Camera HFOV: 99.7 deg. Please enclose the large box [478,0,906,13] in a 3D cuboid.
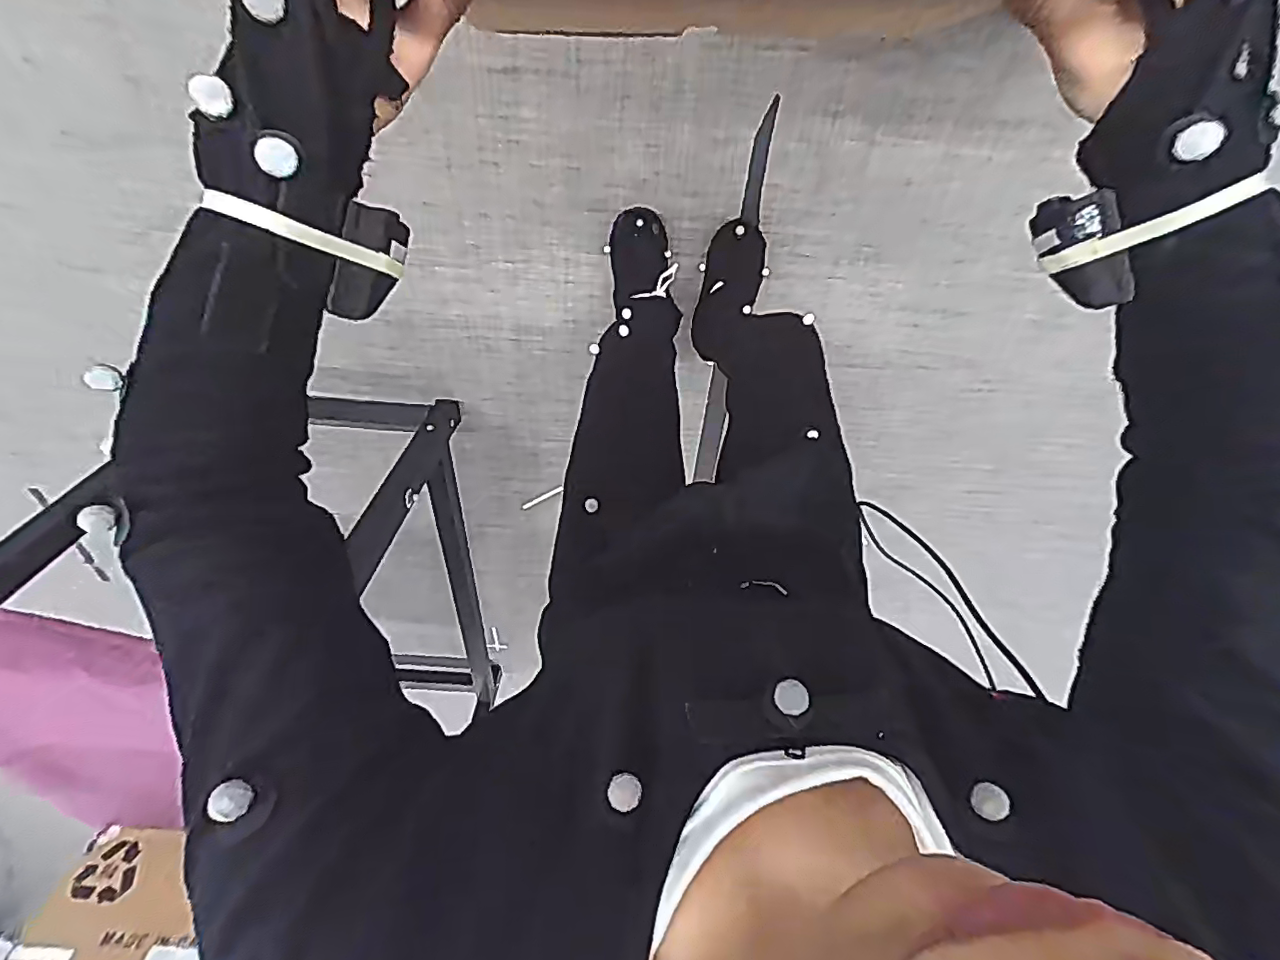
[{"bbox_3d":[0.043,-0.426,0.154,0.320,0.320,0.408,-2,121,-1],"label":"large box"}]
